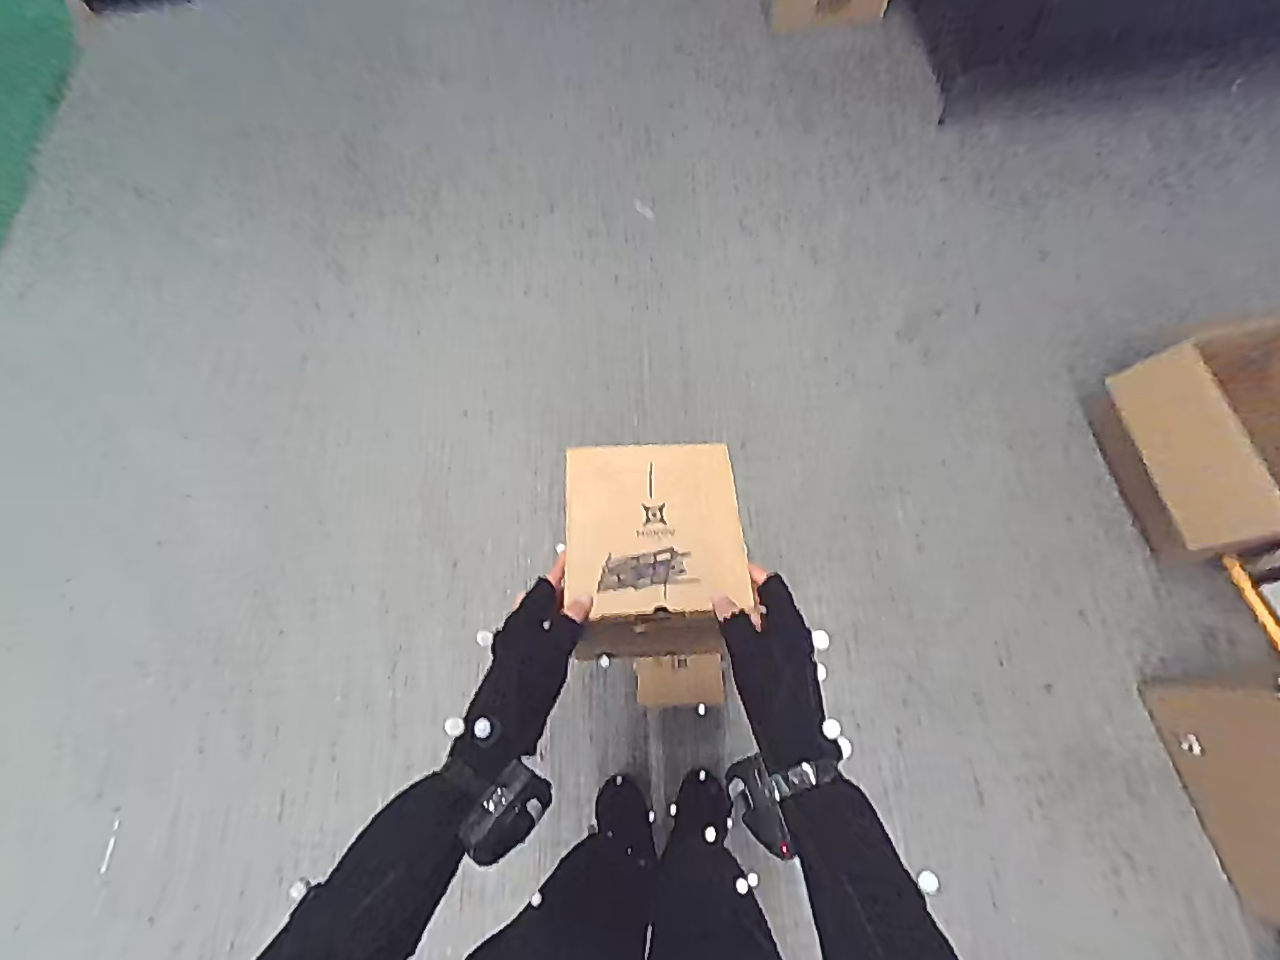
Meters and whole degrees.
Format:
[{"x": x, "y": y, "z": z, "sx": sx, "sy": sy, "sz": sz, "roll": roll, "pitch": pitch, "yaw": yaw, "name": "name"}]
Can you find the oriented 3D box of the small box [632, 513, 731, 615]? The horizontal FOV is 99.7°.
[{"x": 0.080, "y": 0.175, "z": 1.094, "sx": 0.179, "sy": 0.176, "sz": 0.168, "roll": -6, "pitch": 68, "yaw": 2, "name": "small box"}]
